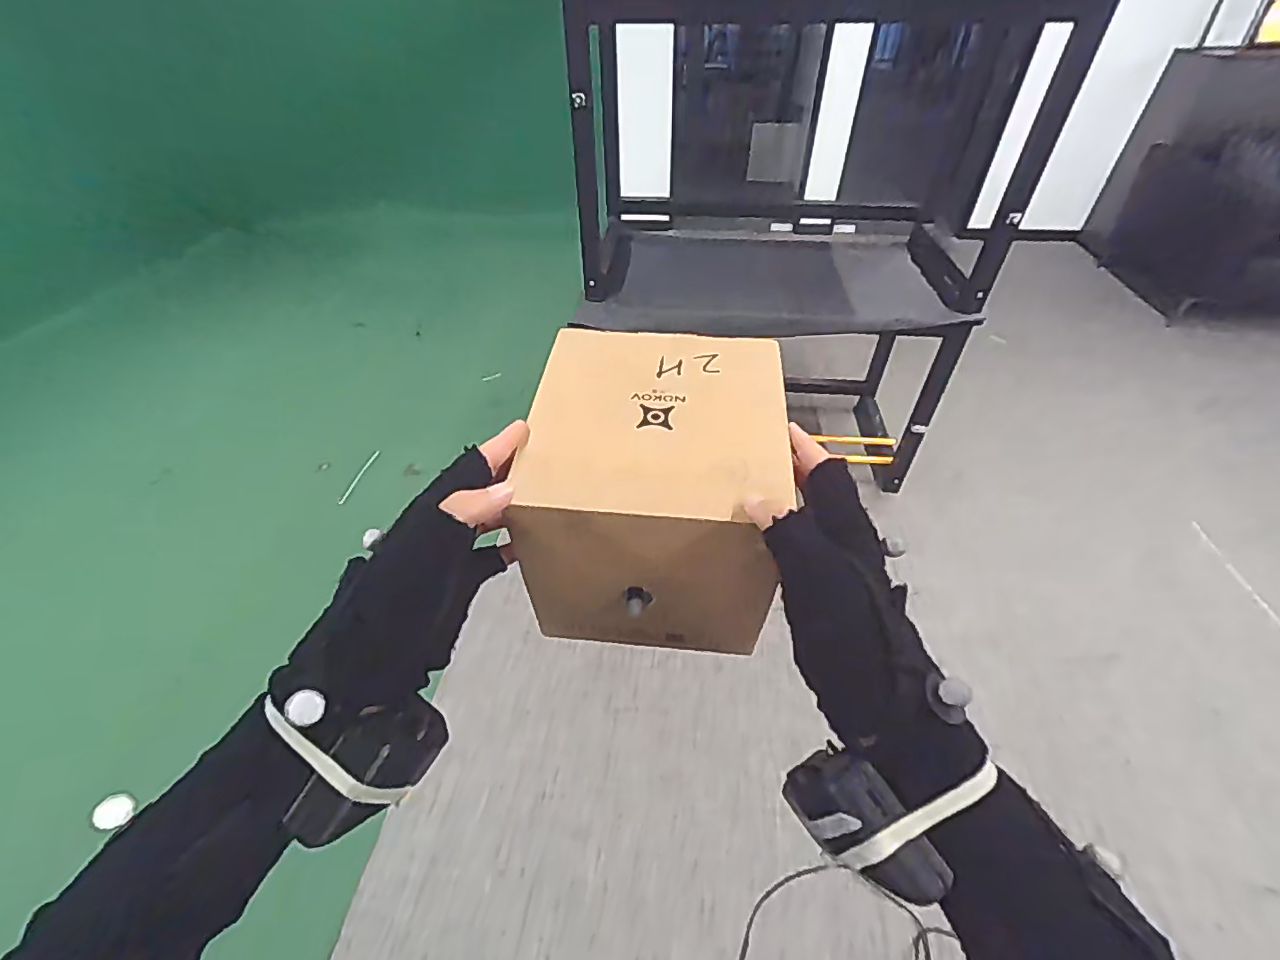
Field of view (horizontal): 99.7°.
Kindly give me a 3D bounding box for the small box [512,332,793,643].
[{"bbox_3d":[0.015,0.008,0.419,0.168,0.176,0.179,5,48,4],"label":"small box"}]
